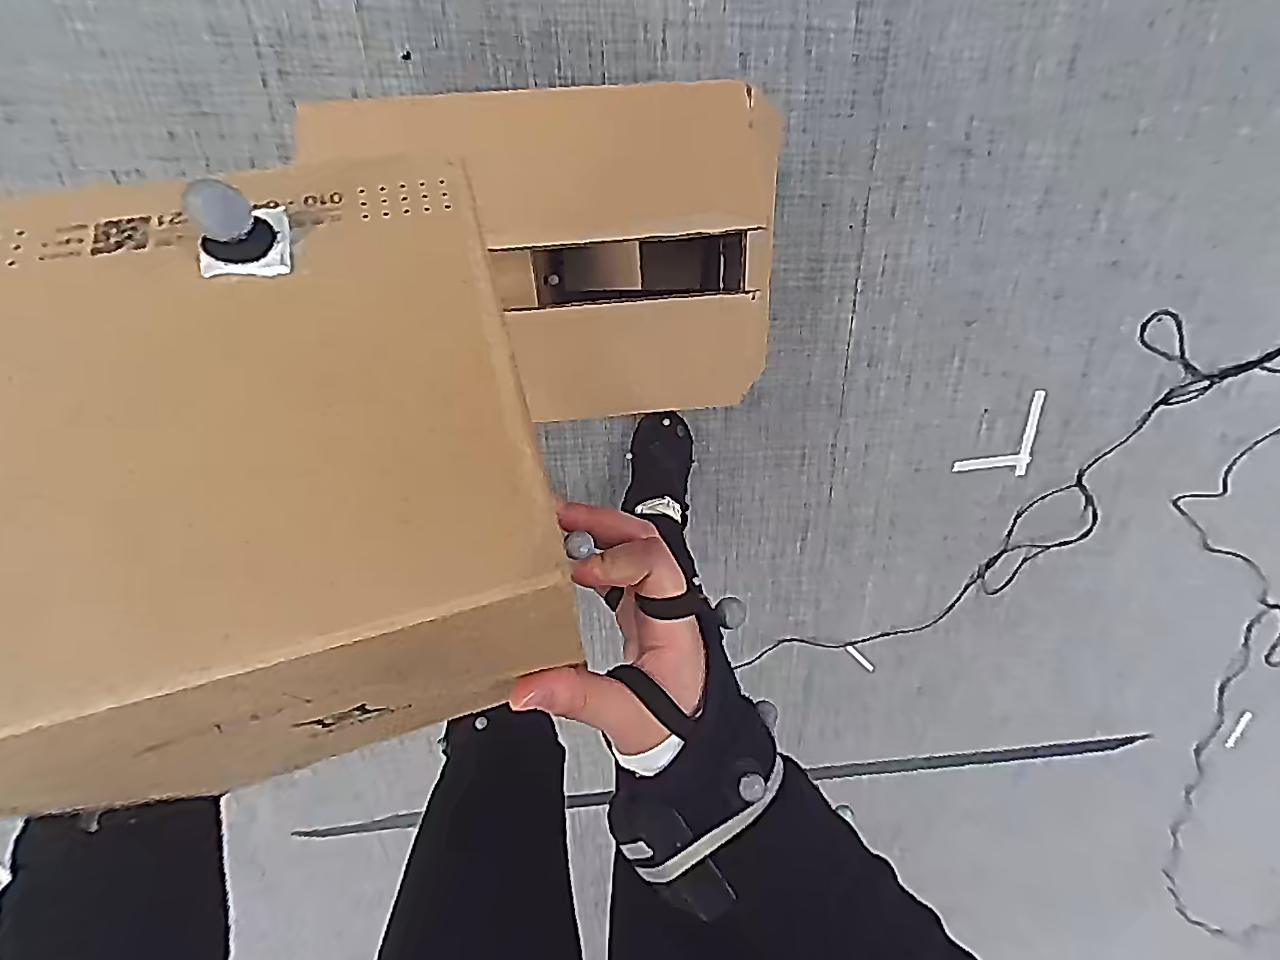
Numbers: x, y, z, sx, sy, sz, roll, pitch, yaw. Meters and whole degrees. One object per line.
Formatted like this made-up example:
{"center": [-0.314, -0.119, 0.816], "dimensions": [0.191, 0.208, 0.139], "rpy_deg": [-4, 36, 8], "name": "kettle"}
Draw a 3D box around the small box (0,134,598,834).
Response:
{"center": [-0.118, 0.009, 0.209], "dimensions": [0.168, 0.176, 0.179], "rpy_deg": [-16, 154, -12], "name": "small box"}
